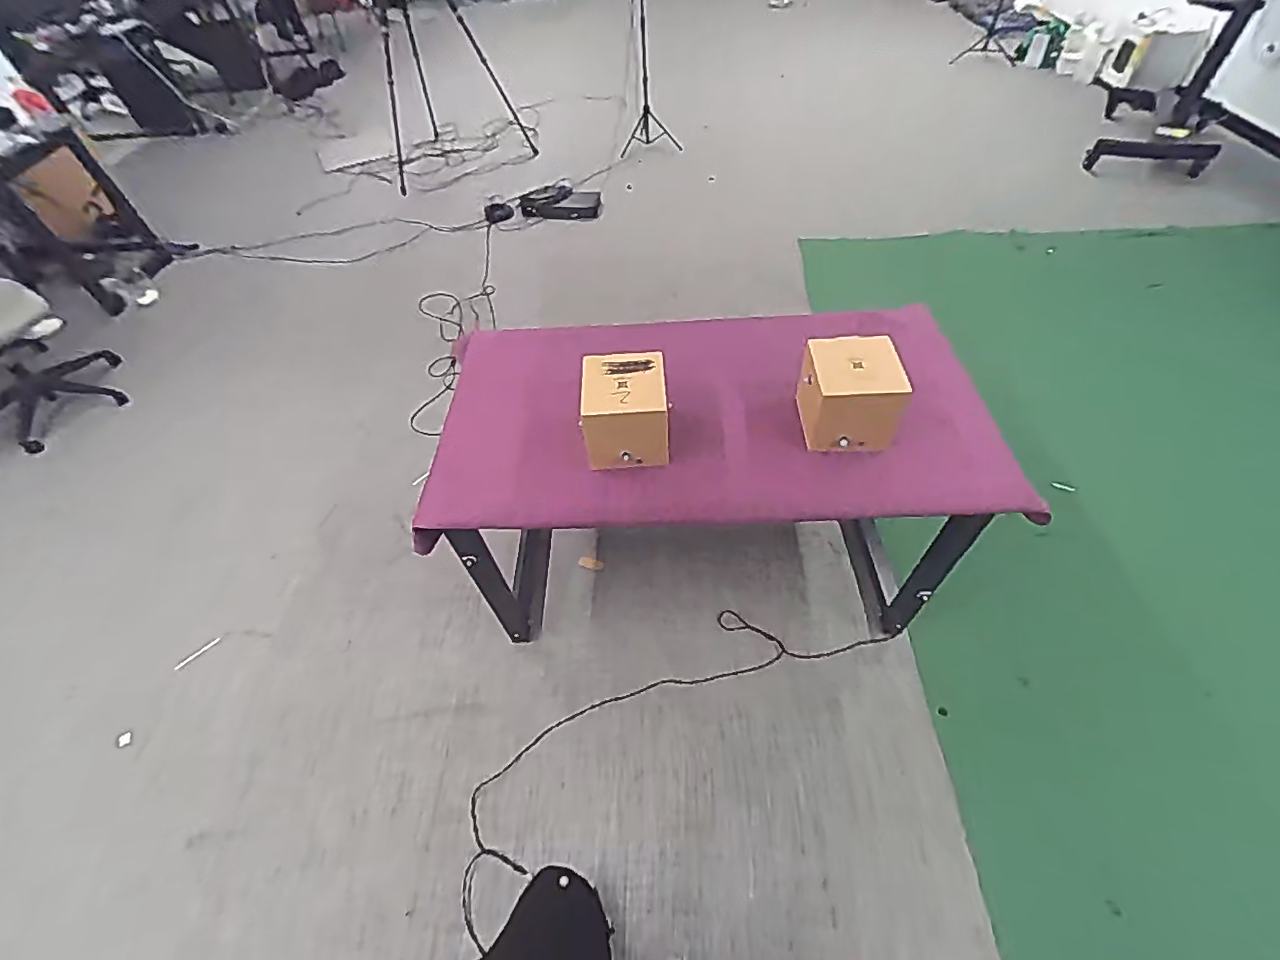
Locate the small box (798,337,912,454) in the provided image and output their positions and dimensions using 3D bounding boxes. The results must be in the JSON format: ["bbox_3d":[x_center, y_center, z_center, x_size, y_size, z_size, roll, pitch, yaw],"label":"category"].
[{"bbox_3d":[0.430,-0.173,1.115,0.168,0.176,0.179,-1,50,6],"label":"small box"}]
